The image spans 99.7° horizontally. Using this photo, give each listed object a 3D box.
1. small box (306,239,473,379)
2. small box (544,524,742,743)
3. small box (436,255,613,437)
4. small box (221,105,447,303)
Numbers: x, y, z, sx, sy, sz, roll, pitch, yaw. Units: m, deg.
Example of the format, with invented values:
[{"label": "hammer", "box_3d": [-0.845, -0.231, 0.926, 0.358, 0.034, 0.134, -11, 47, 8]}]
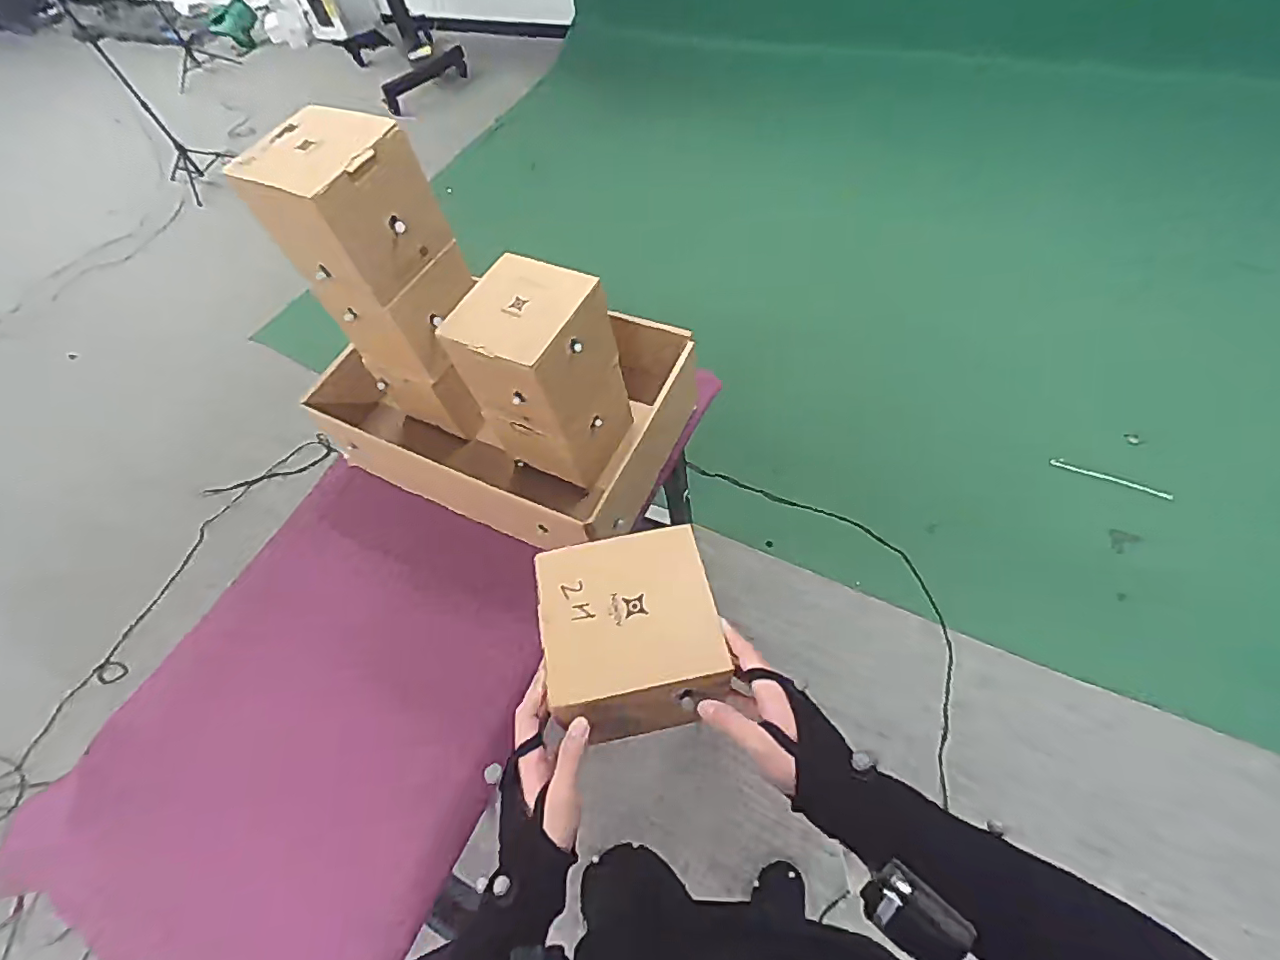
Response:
[{"label": "small box", "box_3d": [-0.386, -0.292, 0.891, 0.179, 0.176, 0.168, 23, 65, 19]}, {"label": "small box", "box_3d": [-0.002, 0.173, 0.600, 0.179, 0.176, 0.168, -10, 52, -5]}, {"label": "small box", "box_3d": [-0.155, -0.191, 0.799, 0.168, 0.176, 0.179, 23, 66, 19]}, {"label": "small box", "box_3d": [-0.405, -0.375, 0.750, 0.179, 0.176, 0.168, 23, 65, 18]}]
